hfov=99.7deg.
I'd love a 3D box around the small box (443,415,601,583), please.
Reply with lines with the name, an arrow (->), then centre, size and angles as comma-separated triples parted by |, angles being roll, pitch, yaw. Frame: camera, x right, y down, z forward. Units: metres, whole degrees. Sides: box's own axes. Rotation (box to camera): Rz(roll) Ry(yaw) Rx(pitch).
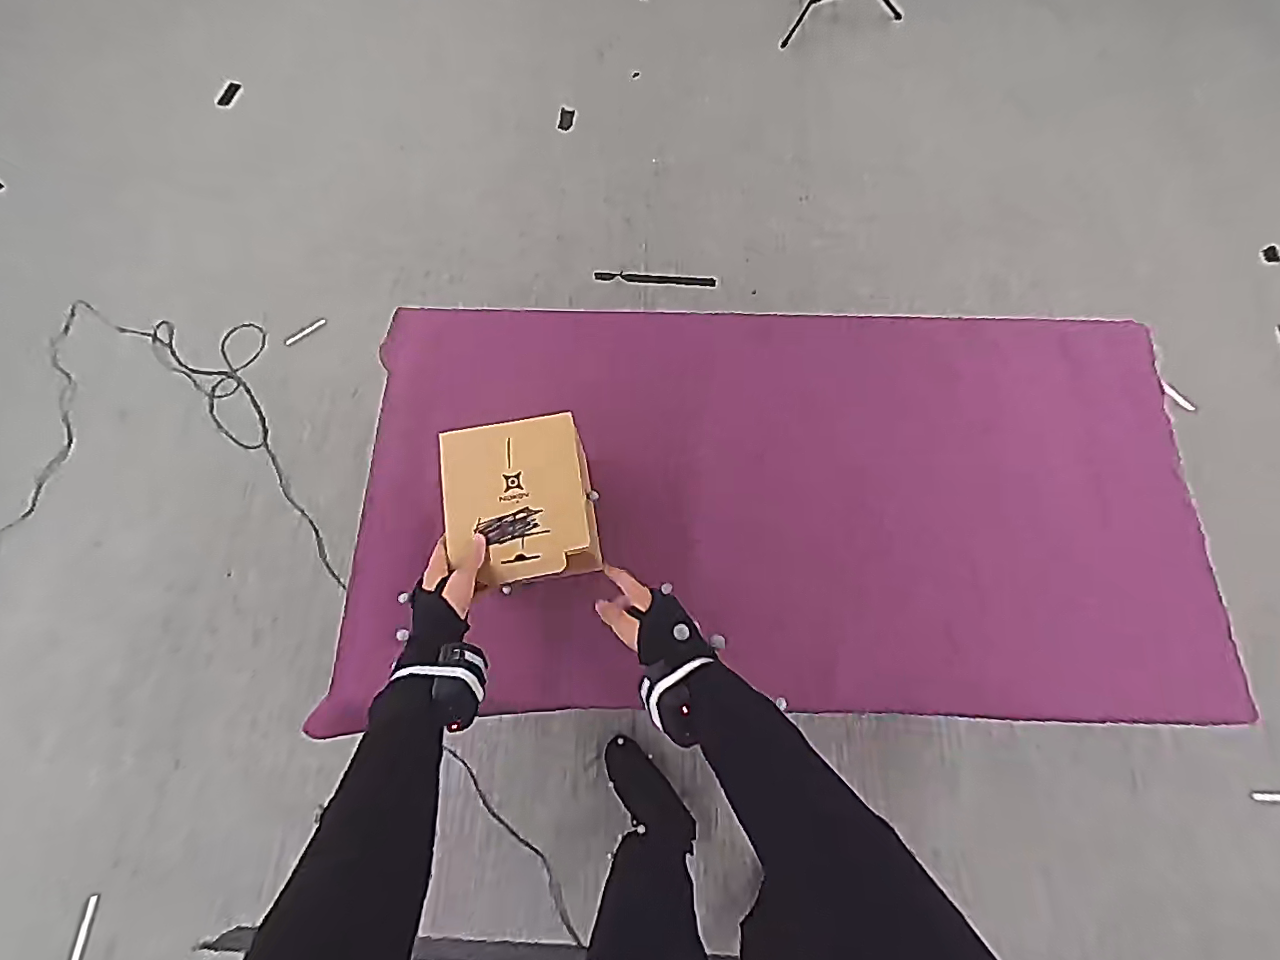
small box -> -0.148, 0.037, 0.720 | 0.168, 0.176, 0.179 | -9, 72, -3
